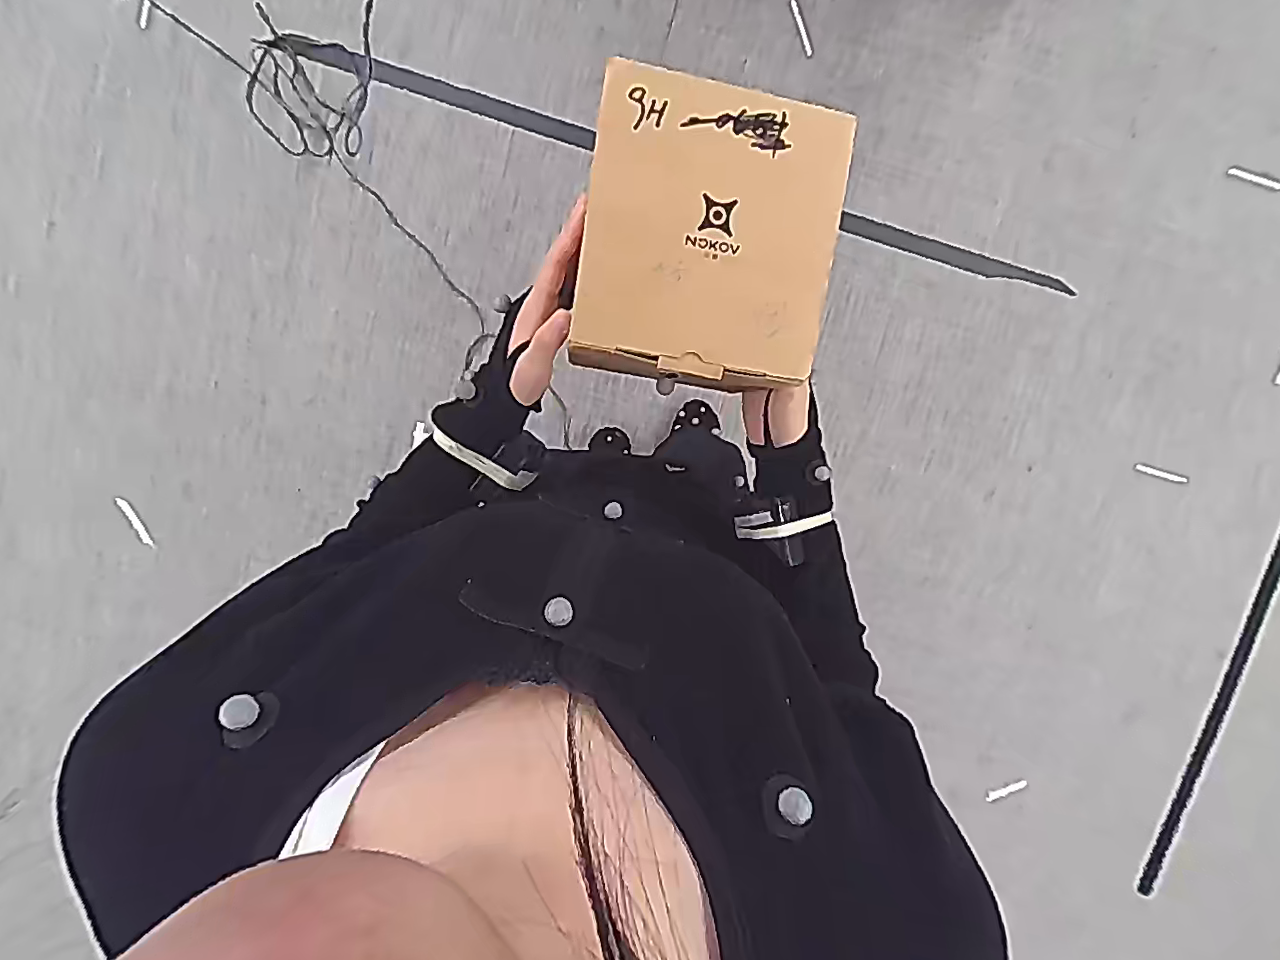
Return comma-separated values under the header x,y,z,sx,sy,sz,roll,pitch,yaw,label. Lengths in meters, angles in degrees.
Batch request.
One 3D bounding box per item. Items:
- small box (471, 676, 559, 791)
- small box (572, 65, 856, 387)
x,y,z,sx,sy,sz,roll,pitch,yaw,label
-0.276,0.553,1.160,0.168,0.176,0.179,13,95,-3,small box
0.041,-0.173,0.433,0.168,0.176,0.179,8,97,-8,small box
